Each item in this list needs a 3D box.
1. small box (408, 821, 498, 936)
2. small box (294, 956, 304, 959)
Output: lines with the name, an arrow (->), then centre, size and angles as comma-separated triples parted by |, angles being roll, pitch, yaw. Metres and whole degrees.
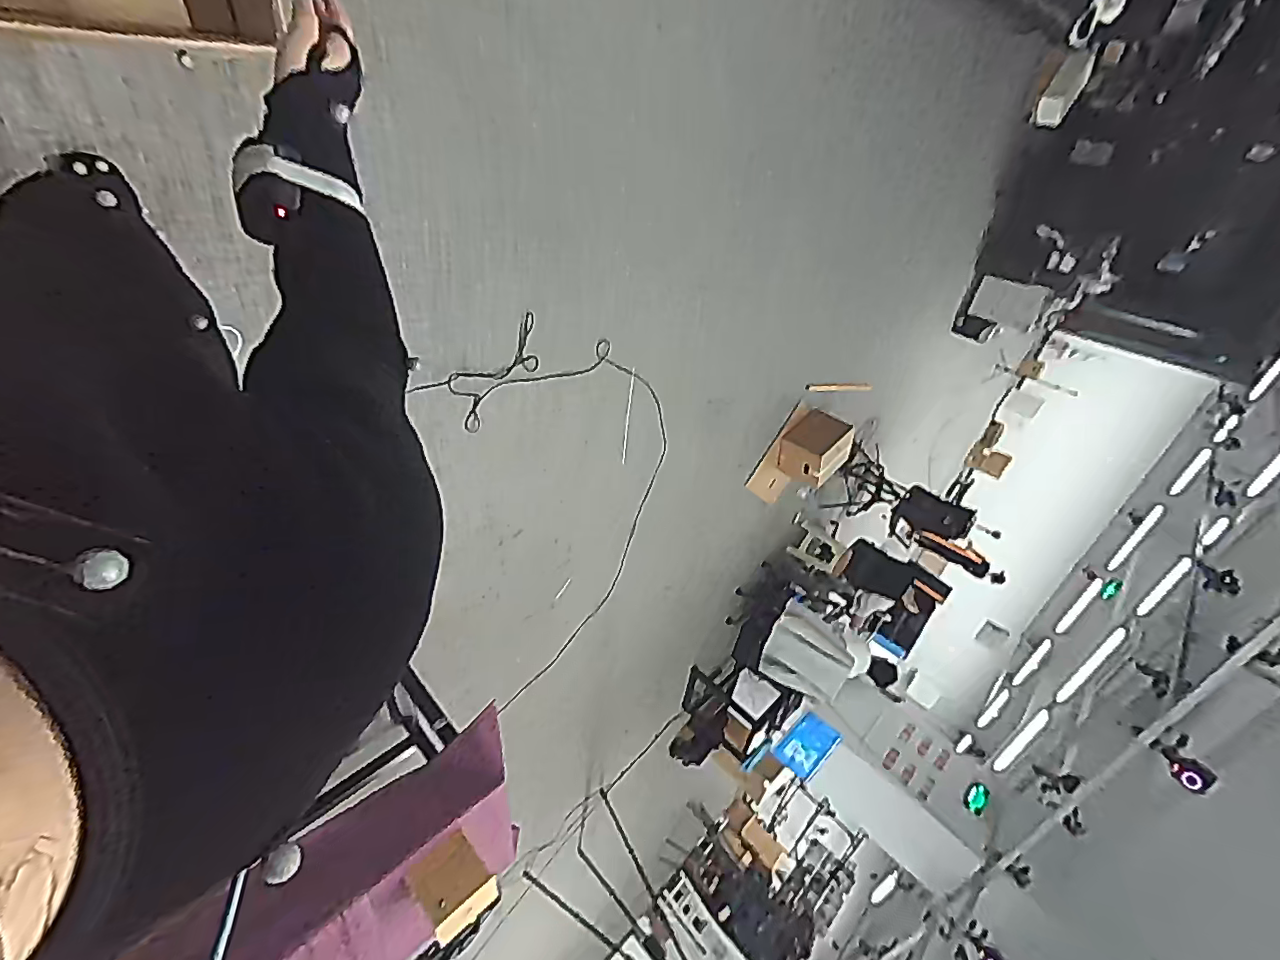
small box -> -0.524, 1.114, 1.524 | 0.179, 0.176, 0.168 | -26, 138, -36
small box -> -0.834, 1.270, 1.253 | 0.179, 0.176, 0.168 | -26, 137, -39
